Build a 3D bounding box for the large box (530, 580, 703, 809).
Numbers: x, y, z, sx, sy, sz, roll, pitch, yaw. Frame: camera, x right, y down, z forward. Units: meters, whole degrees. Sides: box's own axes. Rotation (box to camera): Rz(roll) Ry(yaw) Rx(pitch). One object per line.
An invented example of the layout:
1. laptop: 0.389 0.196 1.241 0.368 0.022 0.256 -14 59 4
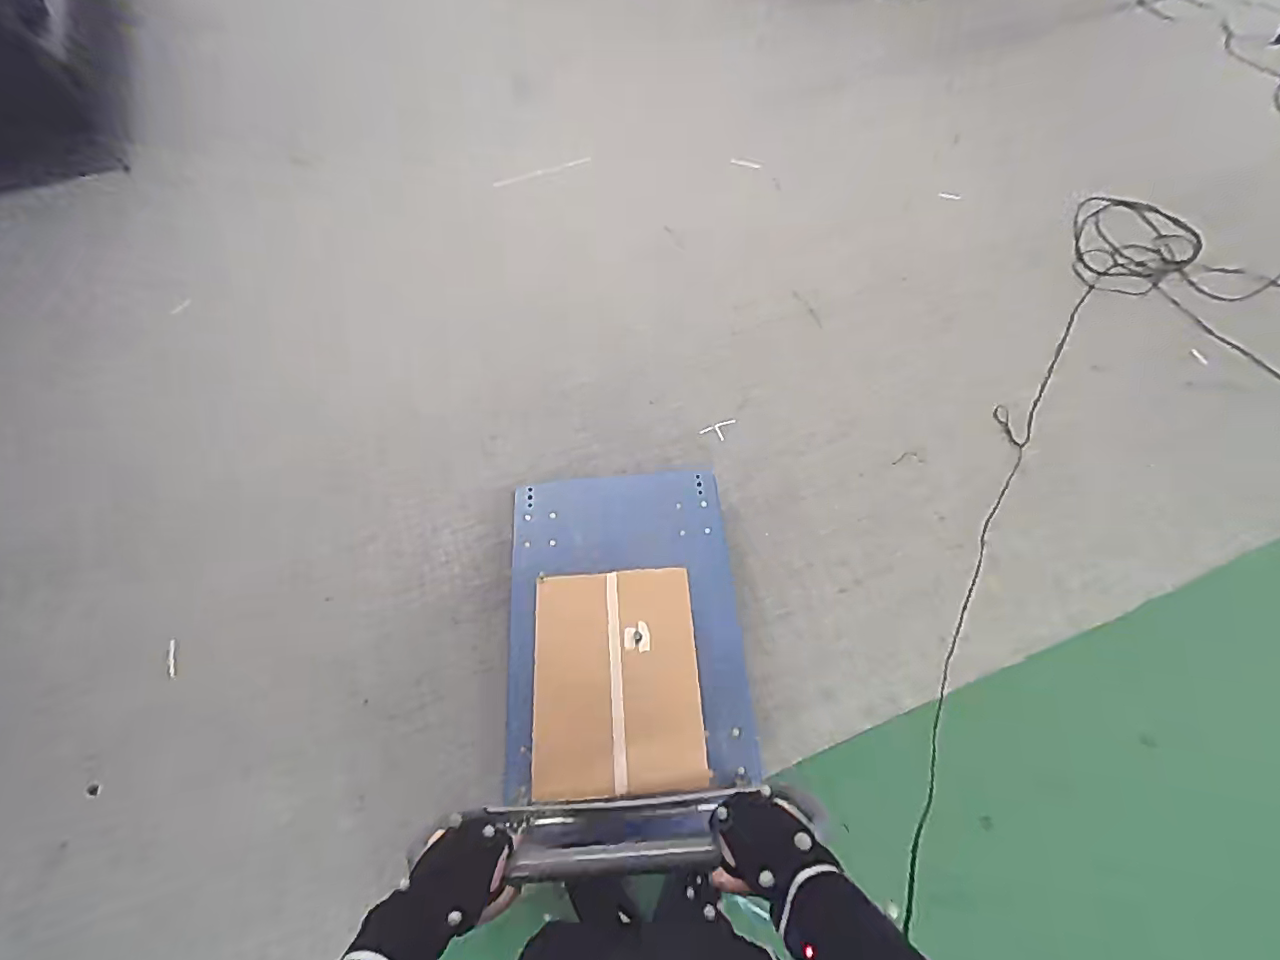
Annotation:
1. large box: -0.048 0.465 1.175 0.320 0.320 0.408 -3 62 -1
